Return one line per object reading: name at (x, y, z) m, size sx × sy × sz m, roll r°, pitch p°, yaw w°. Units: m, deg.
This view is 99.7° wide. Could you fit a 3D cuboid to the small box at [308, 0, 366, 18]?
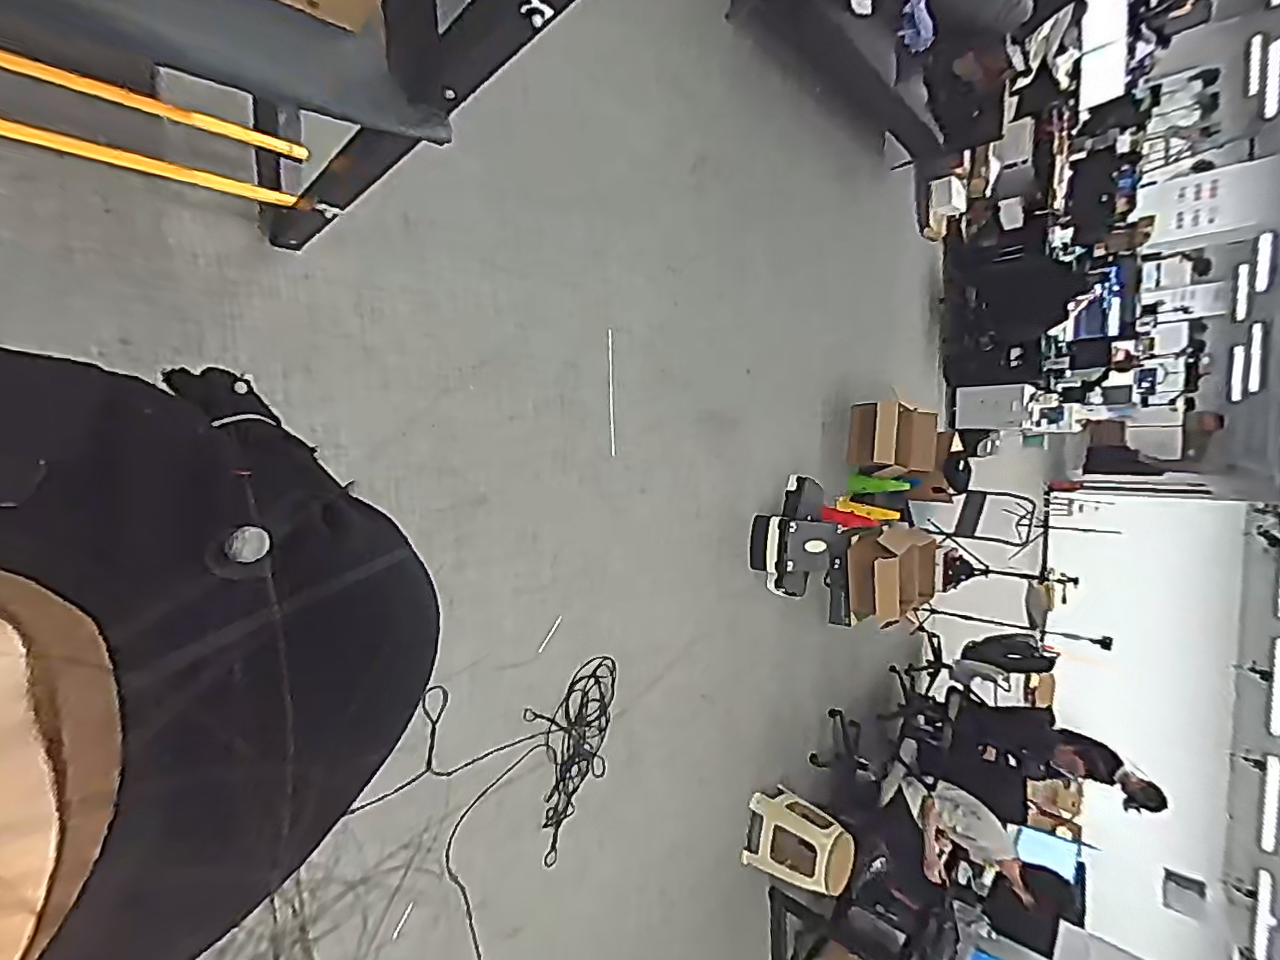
small box at (-0.381, -0.675, 0.597) m, size 0.168 × 0.176 × 0.179 m, roll -11°, pitch 100°, yaw -46°
